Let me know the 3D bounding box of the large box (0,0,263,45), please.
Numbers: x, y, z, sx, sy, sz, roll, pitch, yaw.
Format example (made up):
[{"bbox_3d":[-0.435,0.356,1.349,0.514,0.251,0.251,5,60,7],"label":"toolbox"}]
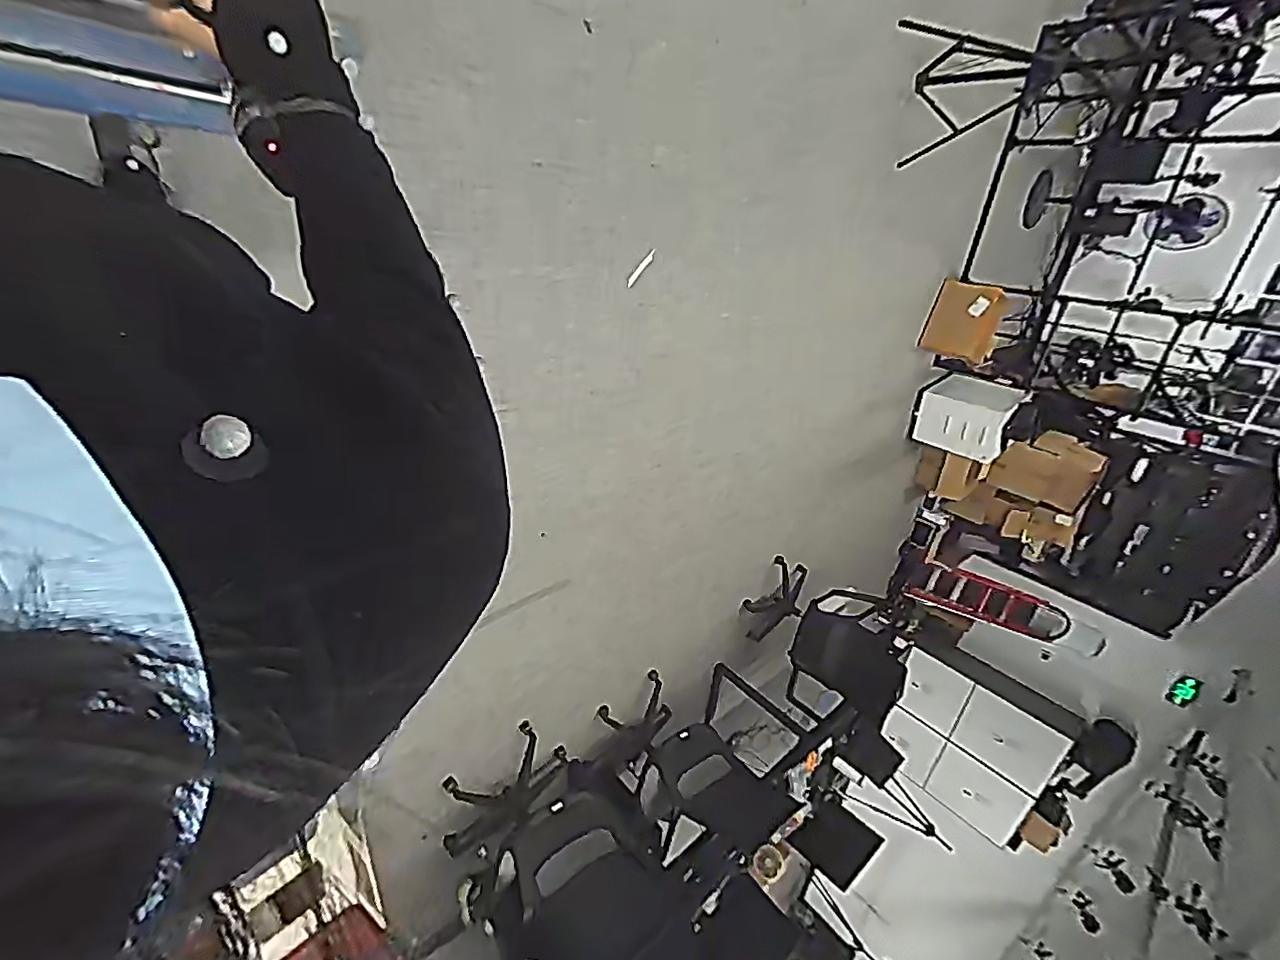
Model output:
[{"bbox_3d":[-0.741,-0.758,0.626,0.408,0.320,0.320,-20,126,-39],"label":"large box"}]
